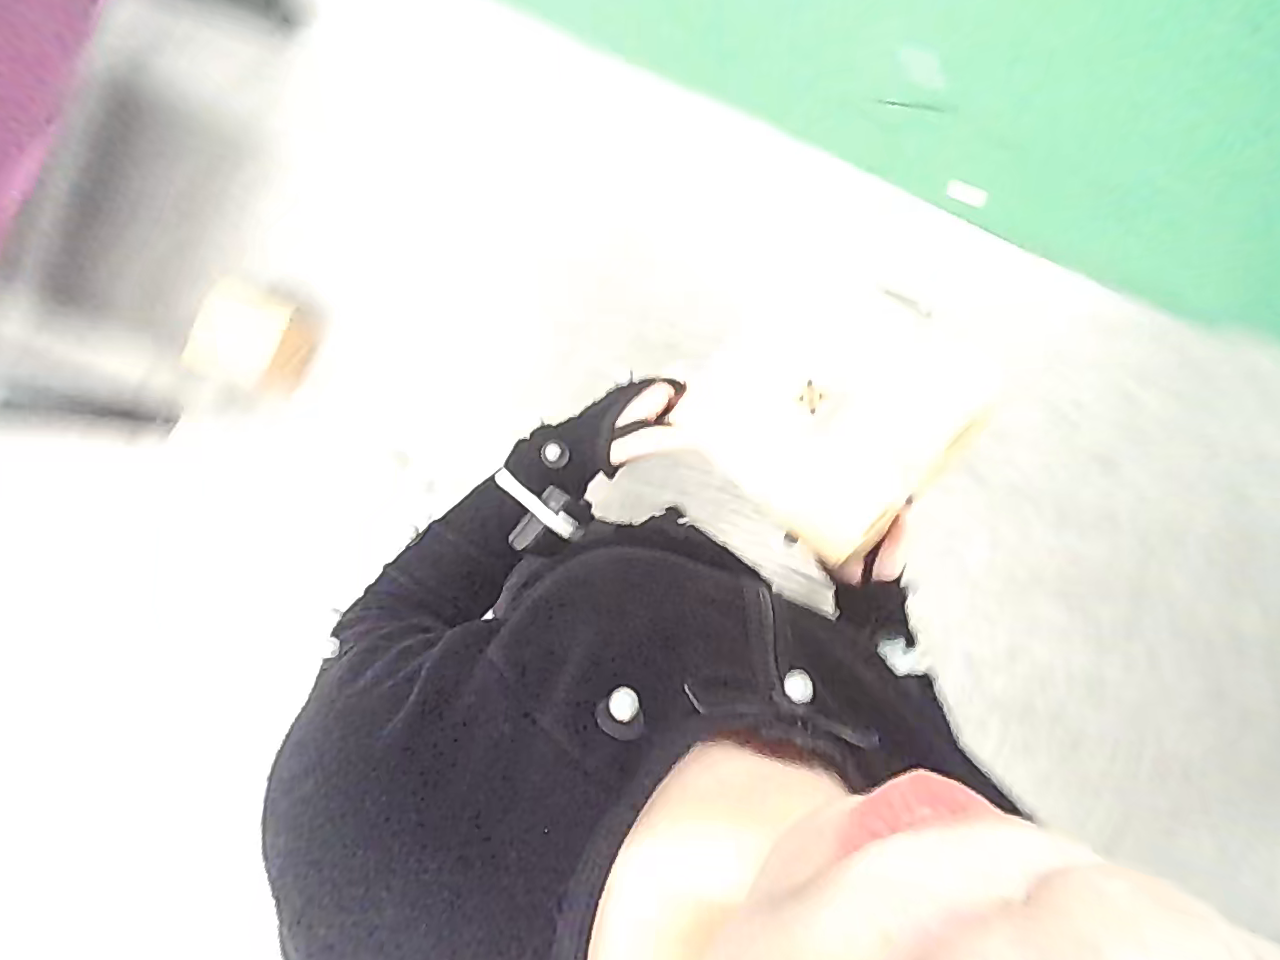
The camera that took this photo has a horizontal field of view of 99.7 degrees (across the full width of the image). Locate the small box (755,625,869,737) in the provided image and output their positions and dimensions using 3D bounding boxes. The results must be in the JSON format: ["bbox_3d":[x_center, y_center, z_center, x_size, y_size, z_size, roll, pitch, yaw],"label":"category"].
[{"bbox_3d":[0.397,0.464,1.282,0.179,0.176,0.168,27,90,-5],"label":"small box"}]

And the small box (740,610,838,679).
[{"bbox_3d":[0.390,0.465,1.448,0.179,0.176,0.168,25,90,-3],"label":"small box"}]
